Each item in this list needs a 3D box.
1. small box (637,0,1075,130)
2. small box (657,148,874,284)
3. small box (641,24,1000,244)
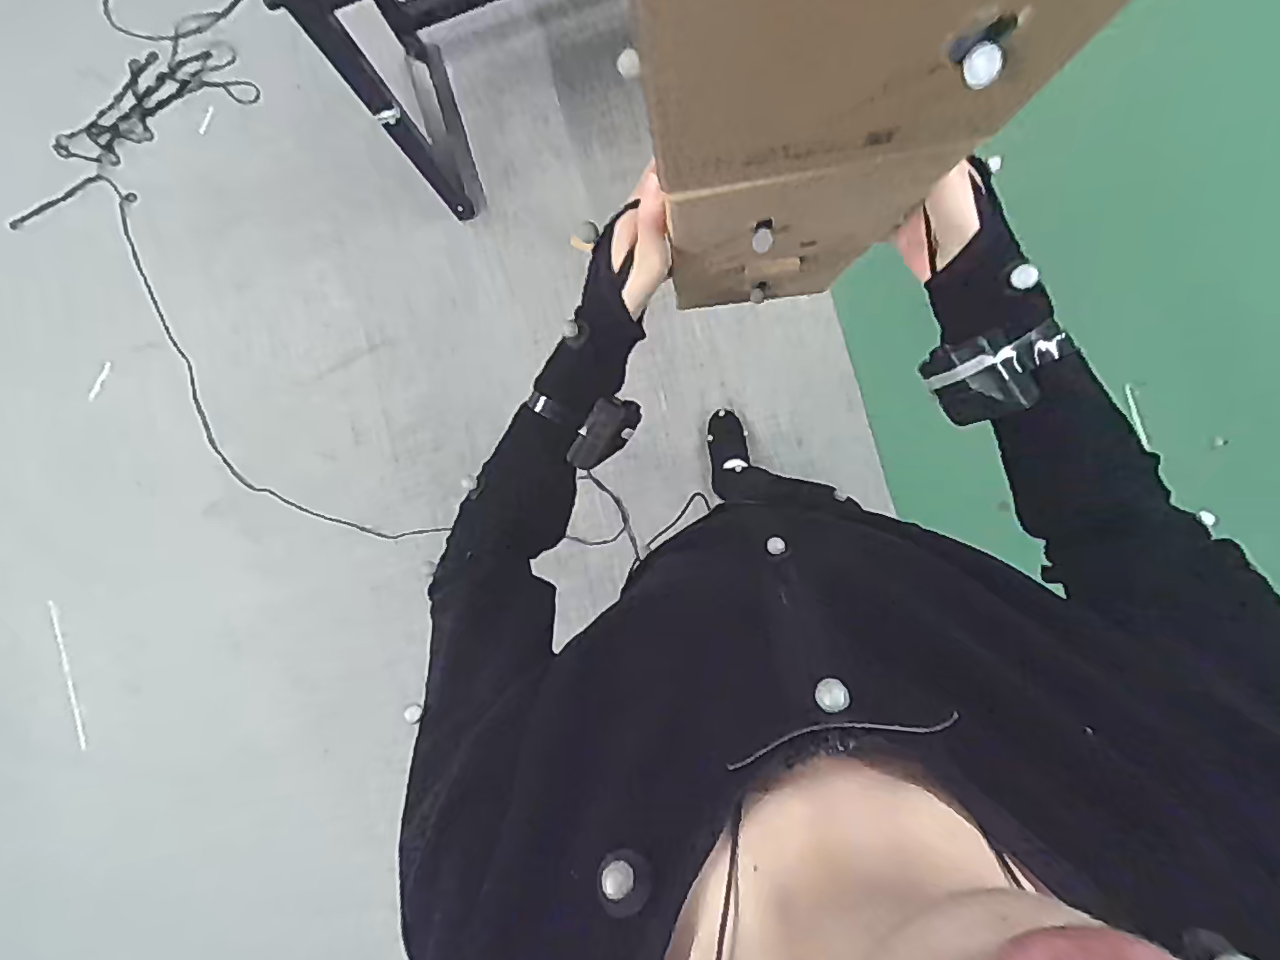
[{"bbox_3d":[0.074,-0.245,0.174,0.168,0.176,0.179,-6,96,6],"label":"small box"},{"bbox_3d":[0.102,-0.288,0.496,0.168,0.176,0.179,-6,97,6],"label":"small box"},{"bbox_3d":[0.088,-0.264,0.336,0.168,0.176,0.179,-8,96,7],"label":"small box"}]
